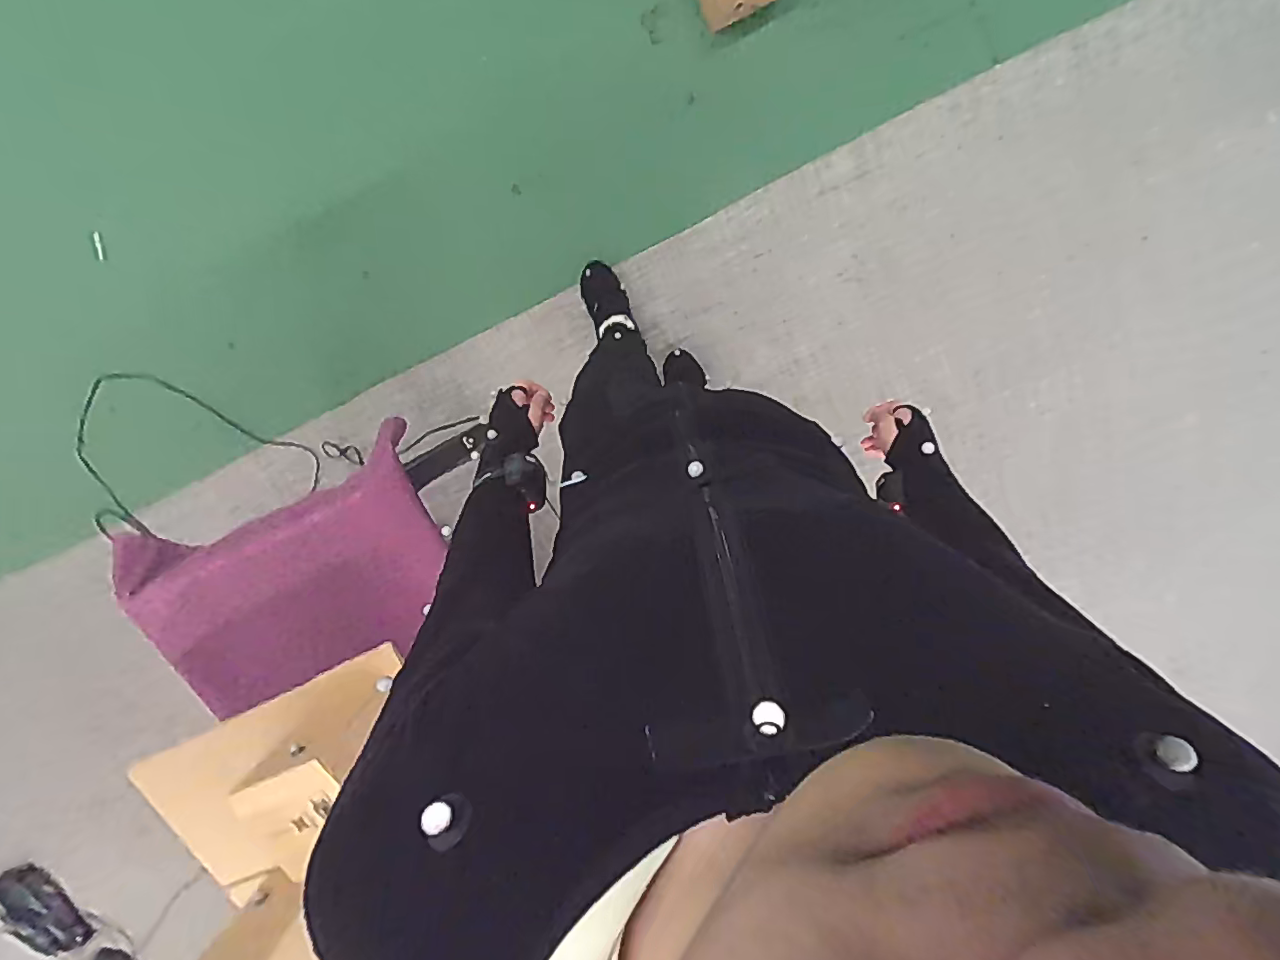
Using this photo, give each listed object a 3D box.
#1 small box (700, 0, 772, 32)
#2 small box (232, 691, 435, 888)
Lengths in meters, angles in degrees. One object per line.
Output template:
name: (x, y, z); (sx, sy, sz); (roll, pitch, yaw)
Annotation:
small box: (0.205, -1.152, 1.188); (0.168, 0.176, 0.179); (-22, 105, 10)
small box: (-0.436, 0.450, 0.809); (0.179, 0.176, 0.168); (-26, 102, 12)
